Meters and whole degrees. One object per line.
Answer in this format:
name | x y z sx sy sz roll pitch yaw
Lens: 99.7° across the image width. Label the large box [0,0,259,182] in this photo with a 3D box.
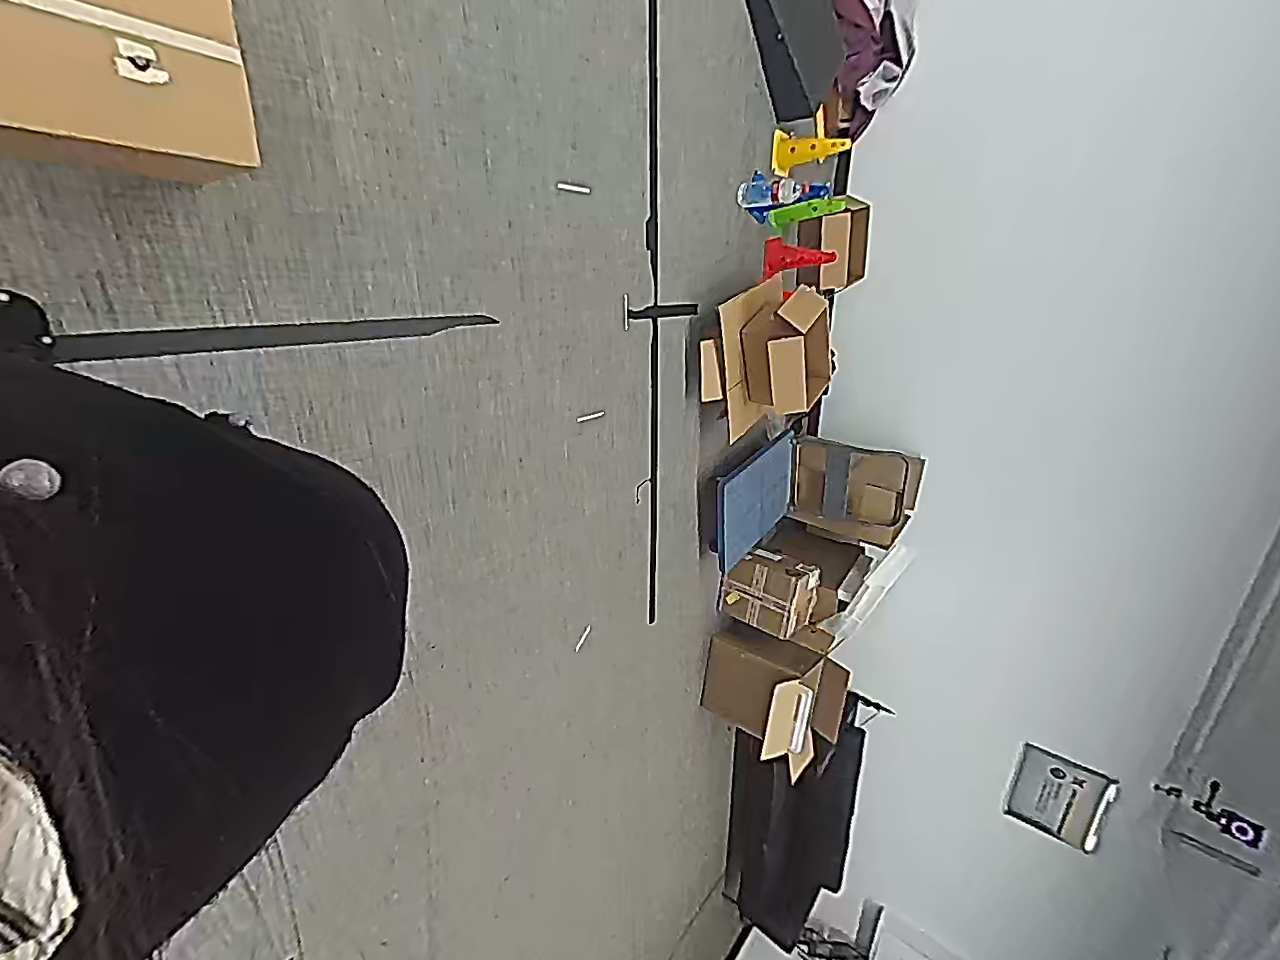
large box | -0.887 -0.665 0.811 0.408 0.320 0.320 -22 120 -49
